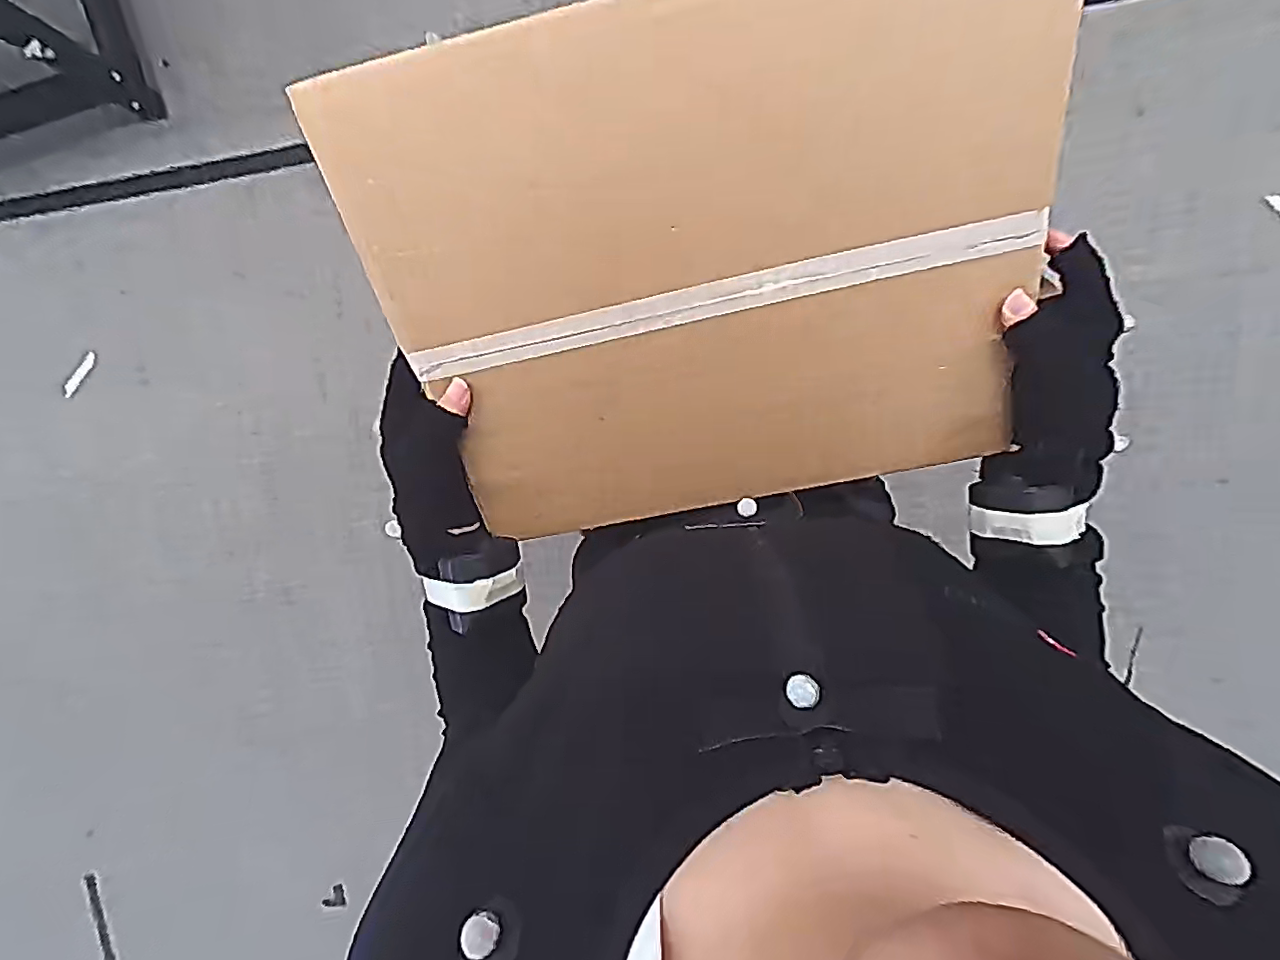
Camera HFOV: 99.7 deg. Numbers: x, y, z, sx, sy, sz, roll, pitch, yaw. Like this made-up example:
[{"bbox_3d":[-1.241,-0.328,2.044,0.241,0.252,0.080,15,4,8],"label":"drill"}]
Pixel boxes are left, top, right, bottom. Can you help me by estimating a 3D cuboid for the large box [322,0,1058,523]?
[{"bbox_3d":[0.042,-0.204,0.481,0.408,0.320,0.320,-11,122,5],"label":"large box"}]
